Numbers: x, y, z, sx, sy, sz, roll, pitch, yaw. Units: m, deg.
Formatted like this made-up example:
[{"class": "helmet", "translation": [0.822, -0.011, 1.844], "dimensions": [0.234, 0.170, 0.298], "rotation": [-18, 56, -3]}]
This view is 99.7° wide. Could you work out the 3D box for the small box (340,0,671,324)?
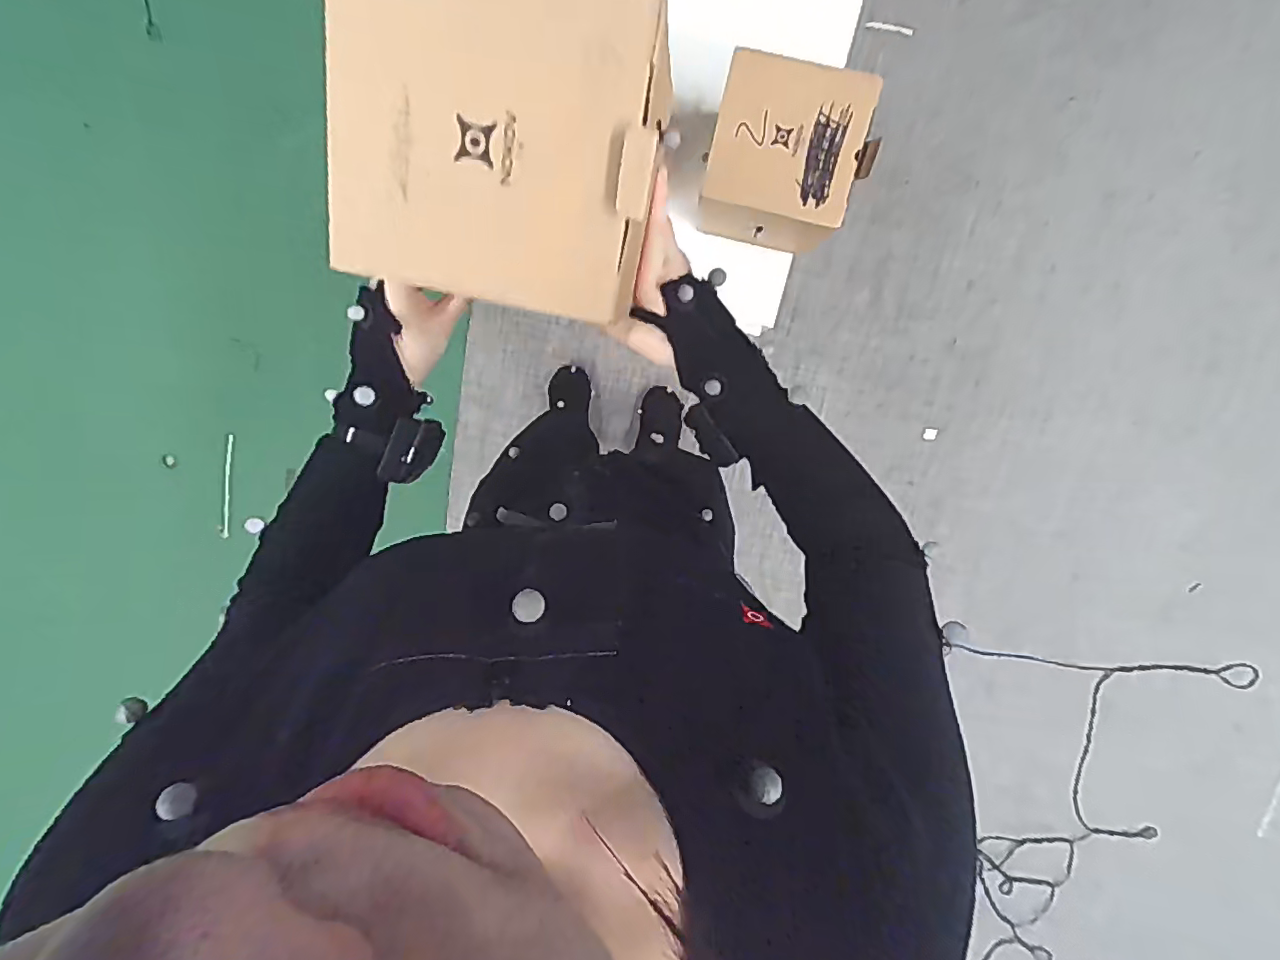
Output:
[{"class": "small box", "translation": [-0.078, -0.214, 0.379], "dimensions": [0.179, 0.176, 0.168], "rotation": [12, 110, 1]}]
